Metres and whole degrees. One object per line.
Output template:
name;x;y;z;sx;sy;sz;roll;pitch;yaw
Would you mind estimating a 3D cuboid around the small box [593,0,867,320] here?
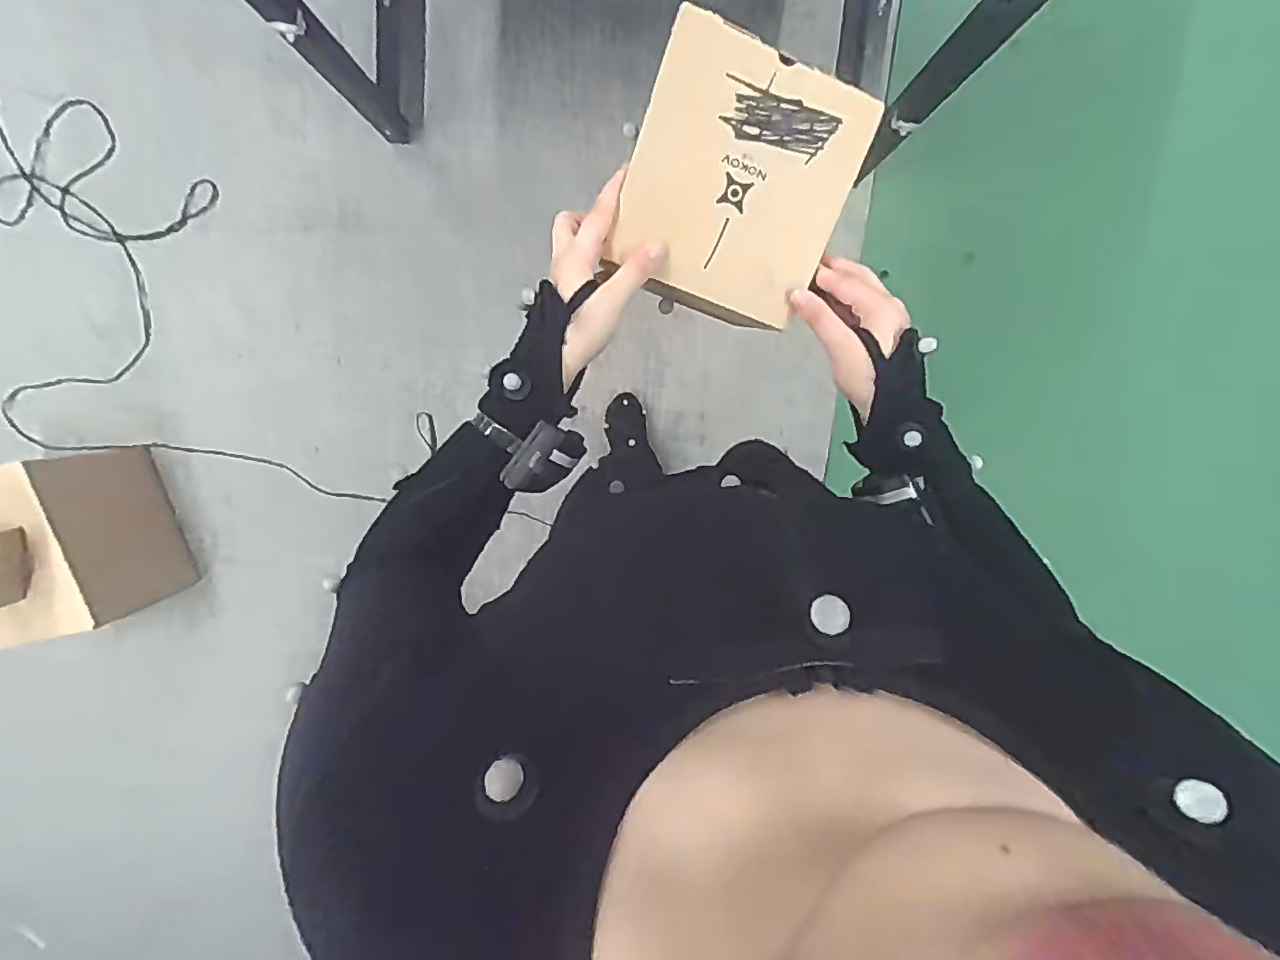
small box;0.058;-0.259;0.484;0.168;0.176;0.179;18;106;-11
